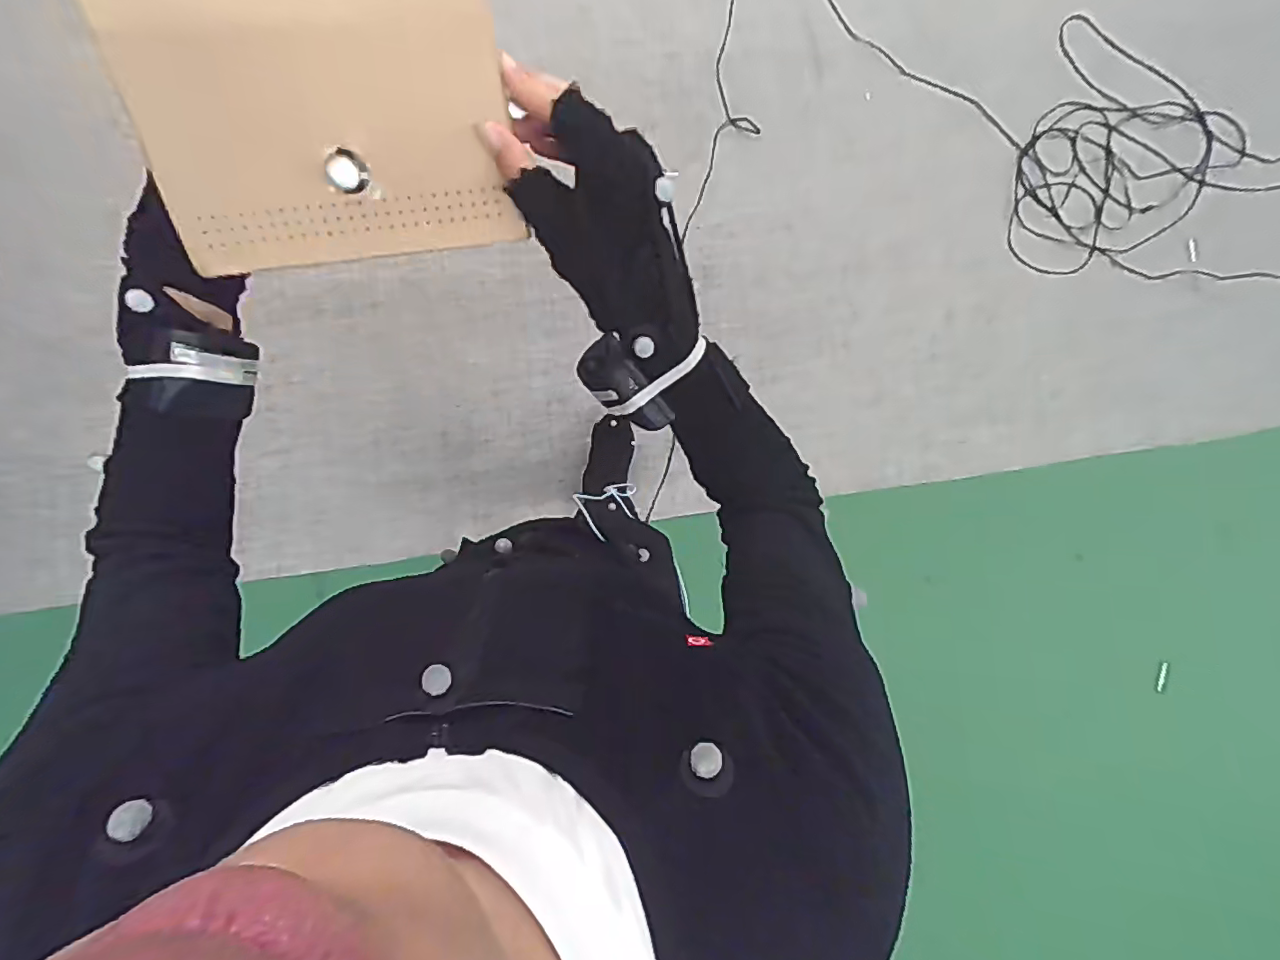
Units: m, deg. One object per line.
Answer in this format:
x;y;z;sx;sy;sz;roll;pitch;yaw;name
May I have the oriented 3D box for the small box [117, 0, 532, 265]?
-0.166;-0.237;0.338;0.179;0.168;0.176;-11;115;-10;small box
